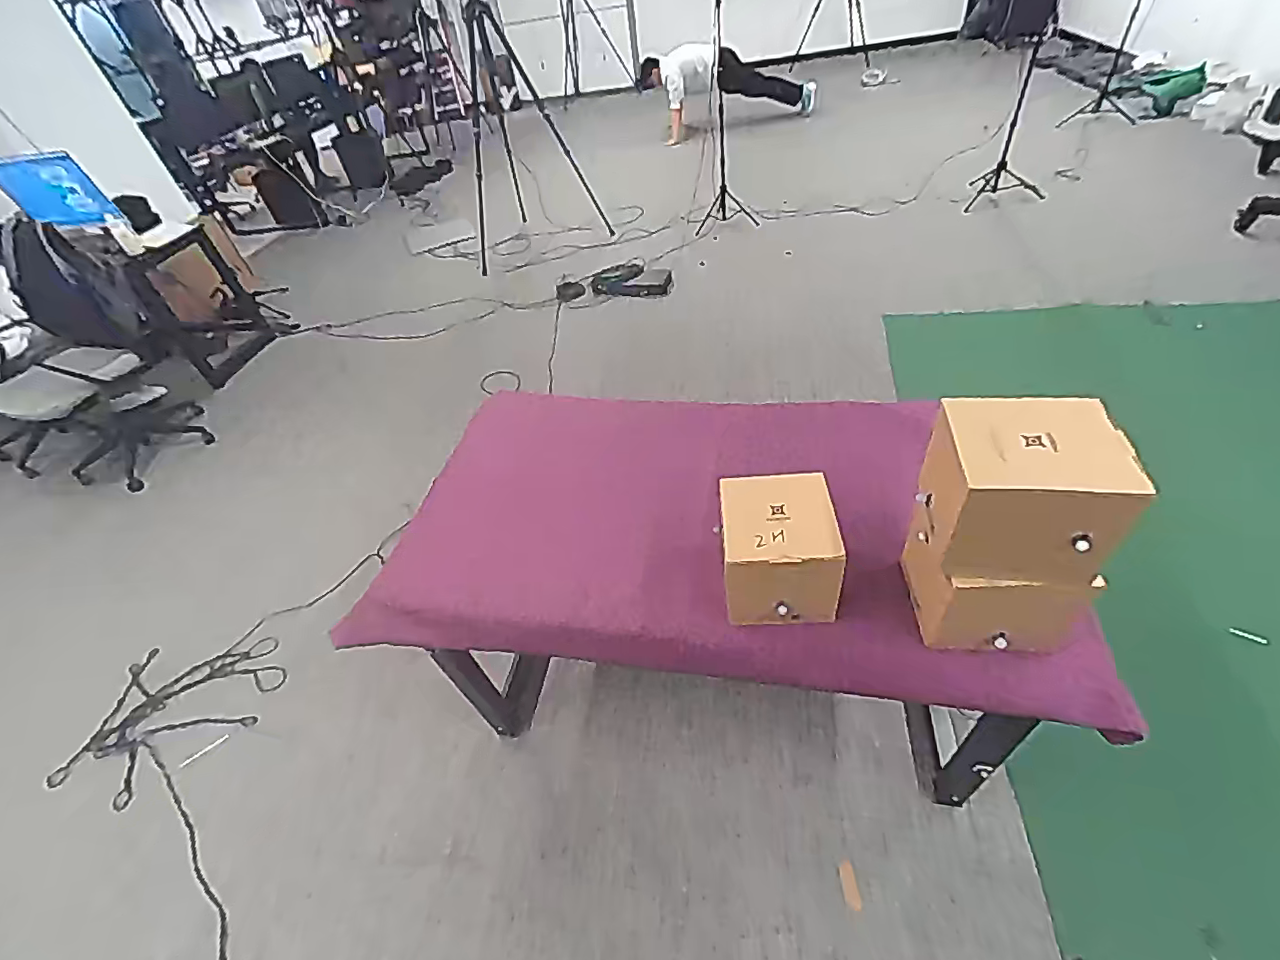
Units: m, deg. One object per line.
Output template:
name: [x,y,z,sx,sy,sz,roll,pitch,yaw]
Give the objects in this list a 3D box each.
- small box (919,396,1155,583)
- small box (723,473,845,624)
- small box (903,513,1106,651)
small box: [0.469,0.012,0.677,0.179,0.176,0.168,2,46,15]
small box: [0.219,0.110,0.866,0.168,0.176,0.179,-4,44,9]
small box: [0.504,0.133,0.782,0.179,0.176,0.168,-2,45,10]
